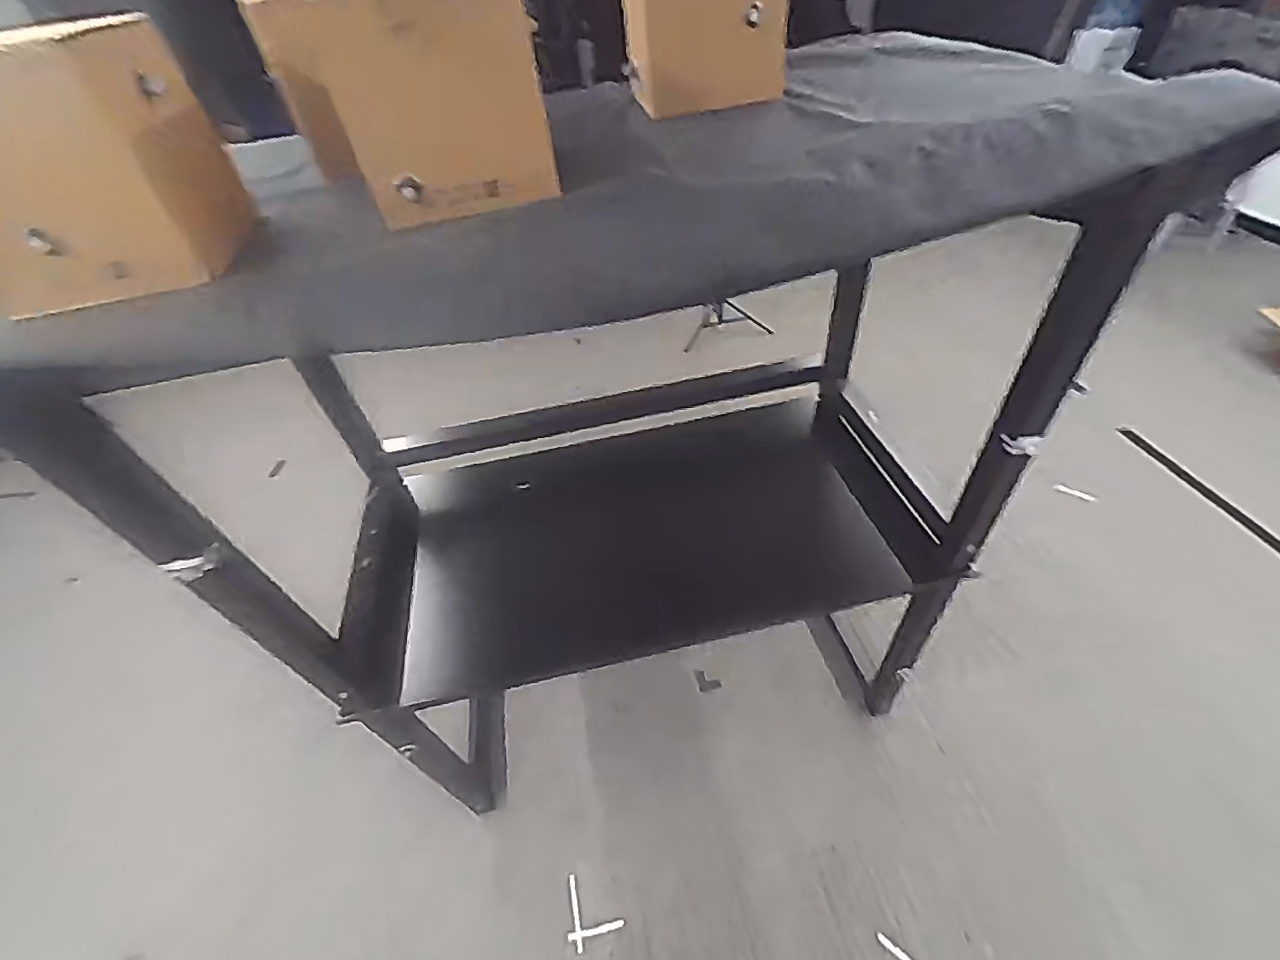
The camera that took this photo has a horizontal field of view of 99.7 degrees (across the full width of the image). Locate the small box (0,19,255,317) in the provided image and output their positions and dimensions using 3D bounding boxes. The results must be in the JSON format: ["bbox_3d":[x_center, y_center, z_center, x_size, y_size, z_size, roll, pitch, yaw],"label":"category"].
[{"bbox_3d":[-0.466,-0.262,0.453,0.168,0.176,0.179,-15,46,-7],"label":"small box"}]

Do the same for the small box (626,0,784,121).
[{"bbox_3d":[0.079,-0.590,0.703,0.179,0.176,0.168,-11,44,-3],"label":"small box"}]
